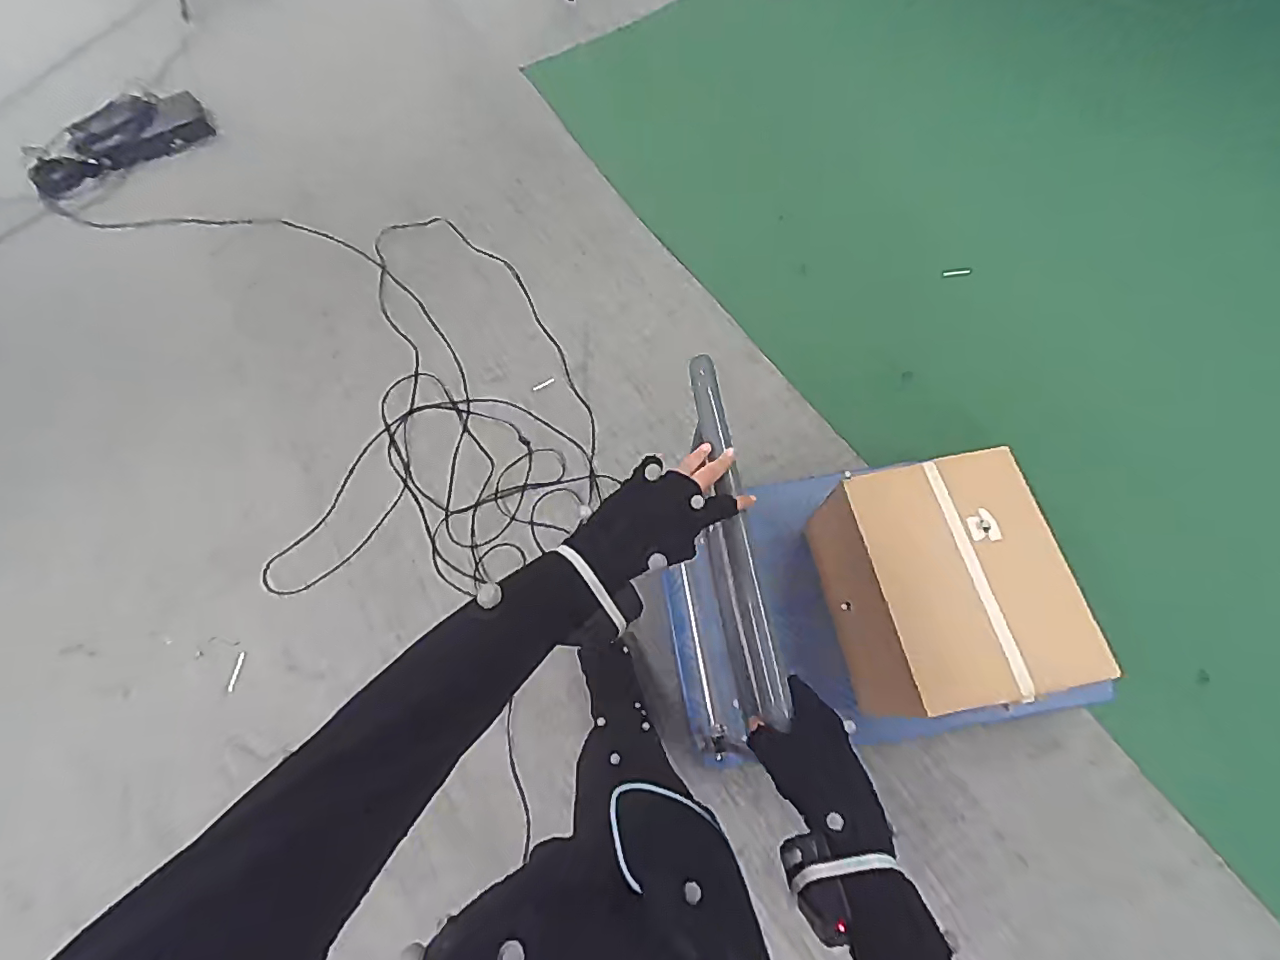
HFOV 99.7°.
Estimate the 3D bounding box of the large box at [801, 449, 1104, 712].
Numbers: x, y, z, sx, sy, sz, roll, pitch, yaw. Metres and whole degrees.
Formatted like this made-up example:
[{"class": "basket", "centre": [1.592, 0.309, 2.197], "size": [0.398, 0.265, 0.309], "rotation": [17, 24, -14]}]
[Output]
[{"class": "large box", "centre": [0.549, 0.206, 1.052], "size": [0.320, 0.320, 0.408], "rotation": [-10, 67, -2]}]
